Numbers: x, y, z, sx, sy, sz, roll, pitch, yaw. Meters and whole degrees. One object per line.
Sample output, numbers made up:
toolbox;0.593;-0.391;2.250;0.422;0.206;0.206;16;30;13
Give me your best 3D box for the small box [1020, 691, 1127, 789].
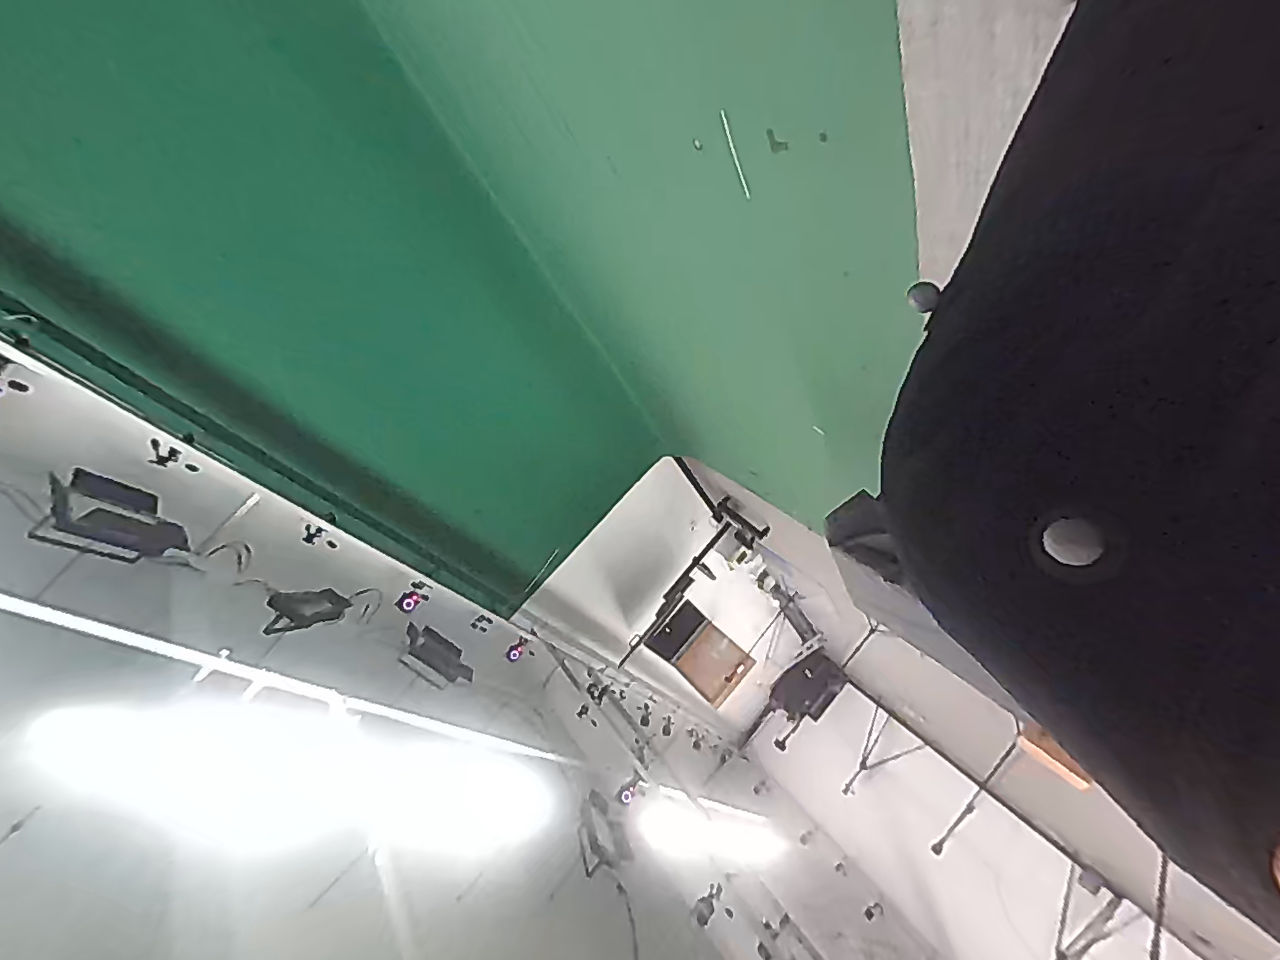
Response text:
small box;1.216;0.730;1.523;0.179;0.176;0.168;38;173;41
